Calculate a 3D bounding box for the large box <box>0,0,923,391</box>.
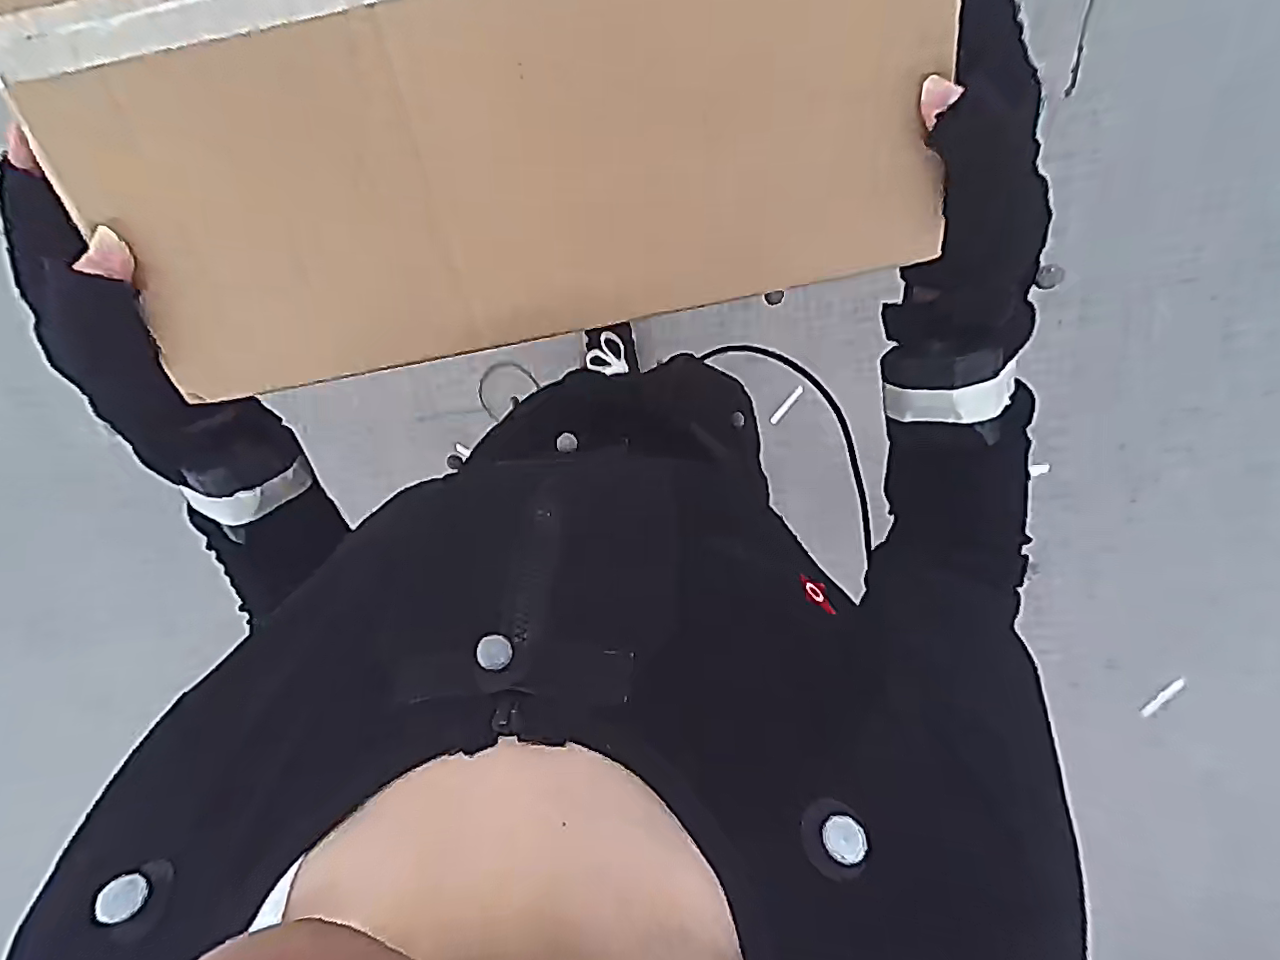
[{"bbox_3d":[-0.082,-0.288,0.358,0.408,0.320,0.320,-10,116,3],"label":"large box"}]
